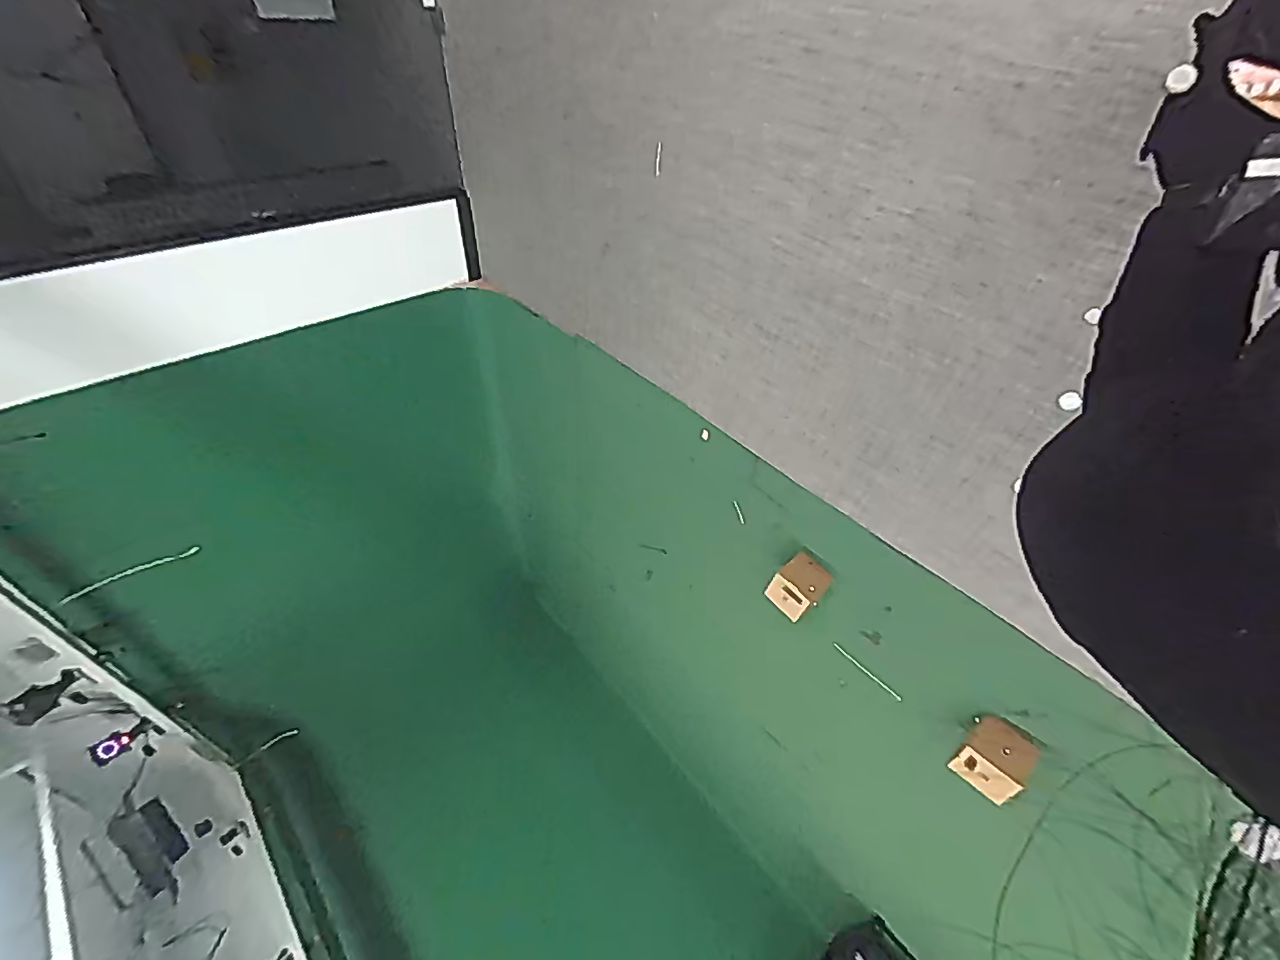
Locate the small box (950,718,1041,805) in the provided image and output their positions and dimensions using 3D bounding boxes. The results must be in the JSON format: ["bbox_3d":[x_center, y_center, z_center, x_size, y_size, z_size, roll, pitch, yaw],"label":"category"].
[{"bbox_3d":[1.185,0.929,1.804,0.179,0.176,0.168,36,142,31],"label":"small box"}]
